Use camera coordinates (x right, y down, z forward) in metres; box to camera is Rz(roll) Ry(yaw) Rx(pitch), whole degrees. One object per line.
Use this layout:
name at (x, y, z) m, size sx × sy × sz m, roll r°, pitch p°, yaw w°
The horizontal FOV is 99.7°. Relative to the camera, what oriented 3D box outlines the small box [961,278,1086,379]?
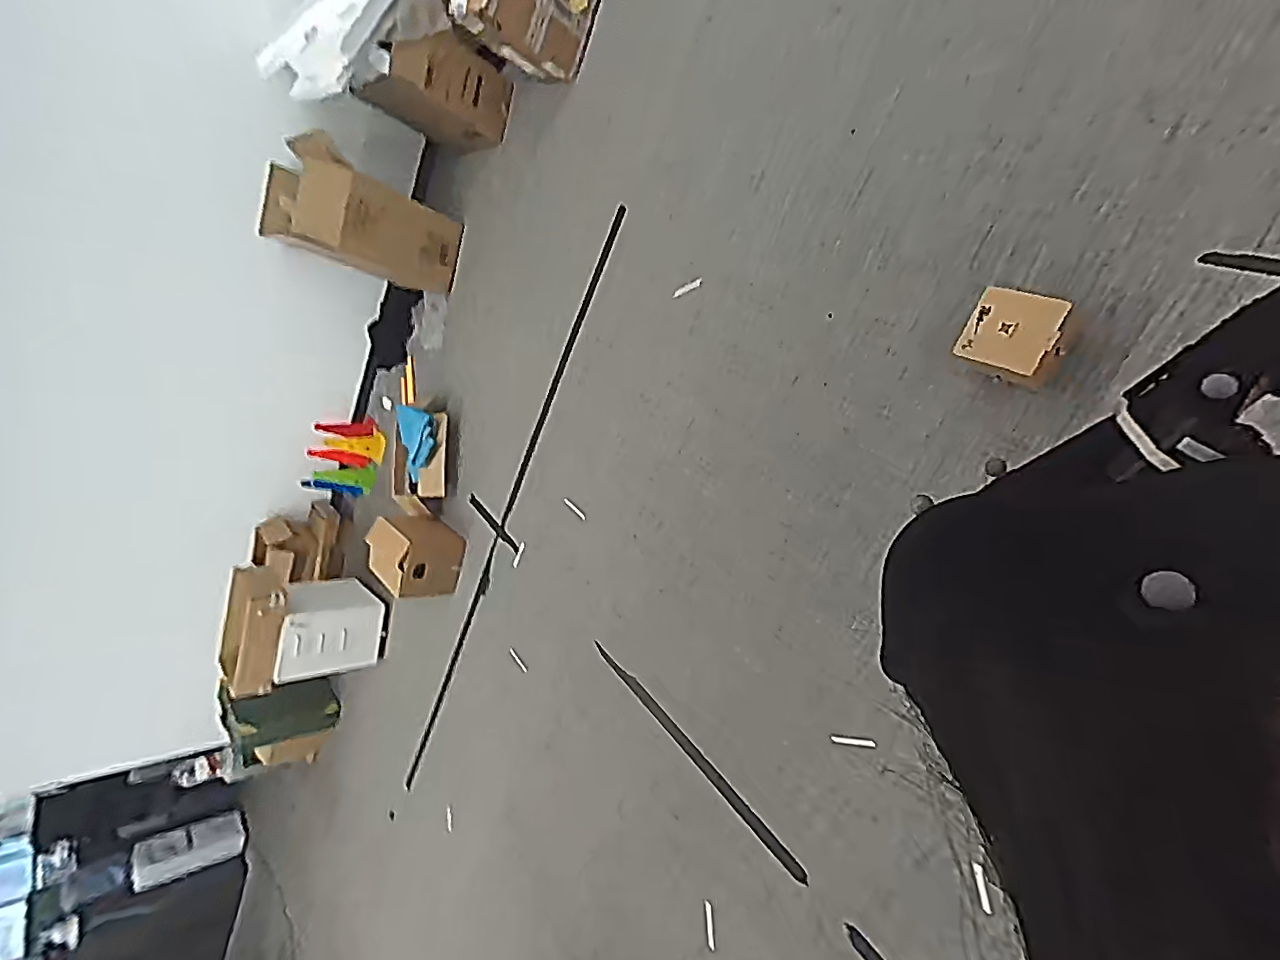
small box at (0.884, -0.341, 1.242) m, size 0.179 × 0.176 × 0.168 m, roll 35°, pitch 110°, yaw 38°
